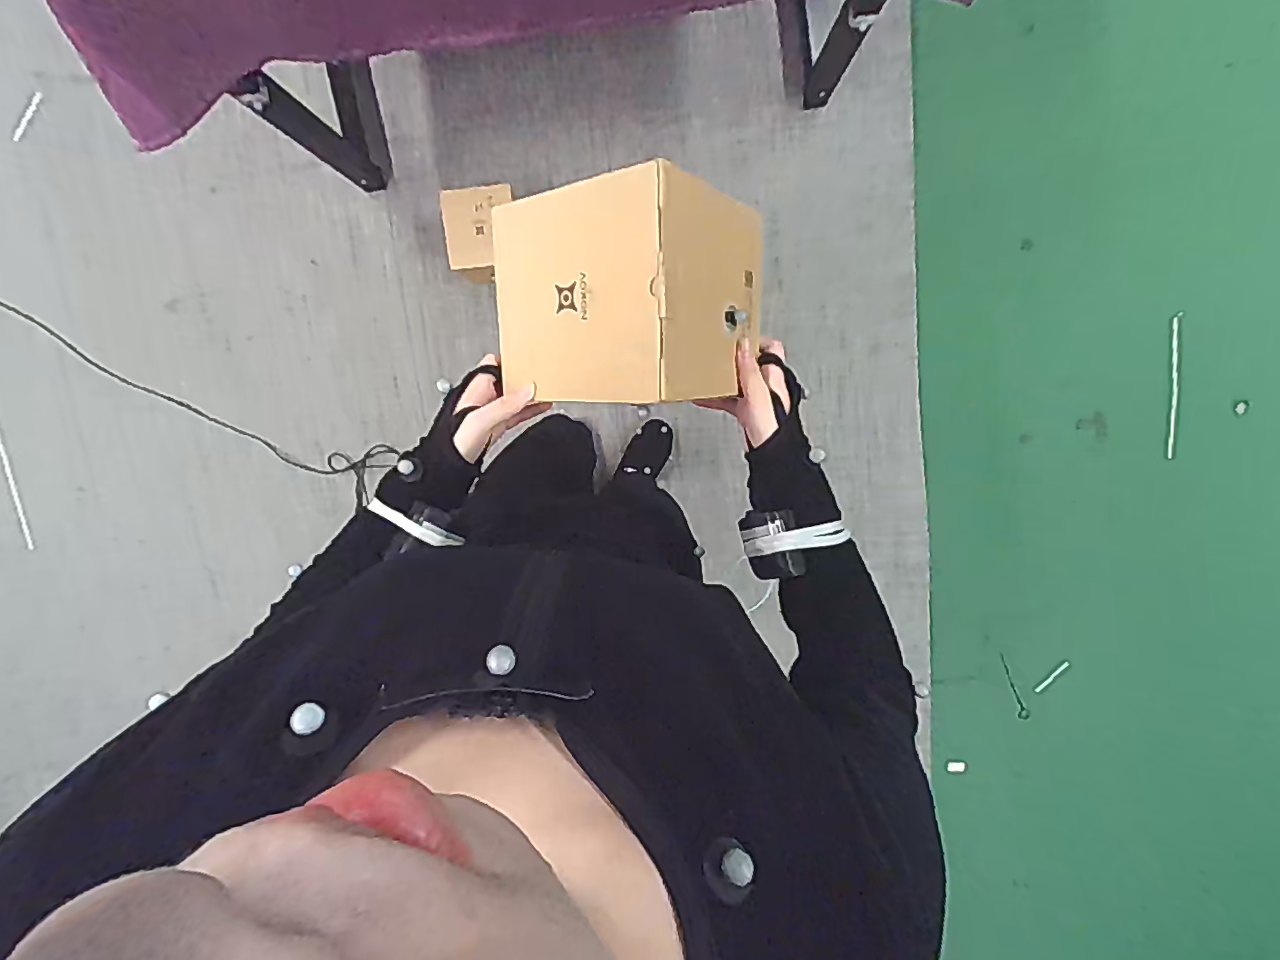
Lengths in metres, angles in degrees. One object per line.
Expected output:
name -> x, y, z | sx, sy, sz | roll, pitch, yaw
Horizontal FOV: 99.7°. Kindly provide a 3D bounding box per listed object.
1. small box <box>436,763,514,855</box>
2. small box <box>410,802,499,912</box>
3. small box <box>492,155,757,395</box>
small box -> -0.468, 0.940, 1.556 | 0.168, 0.176, 0.179 | -3, 98, 2
small box -> -0.470, 0.960, 1.392 | 0.168, 0.176, 0.179 | -2, 99, 2
small box -> -0.010, -0.164, 0.495 | 0.179, 0.176, 0.168 | 7, 104, 35
